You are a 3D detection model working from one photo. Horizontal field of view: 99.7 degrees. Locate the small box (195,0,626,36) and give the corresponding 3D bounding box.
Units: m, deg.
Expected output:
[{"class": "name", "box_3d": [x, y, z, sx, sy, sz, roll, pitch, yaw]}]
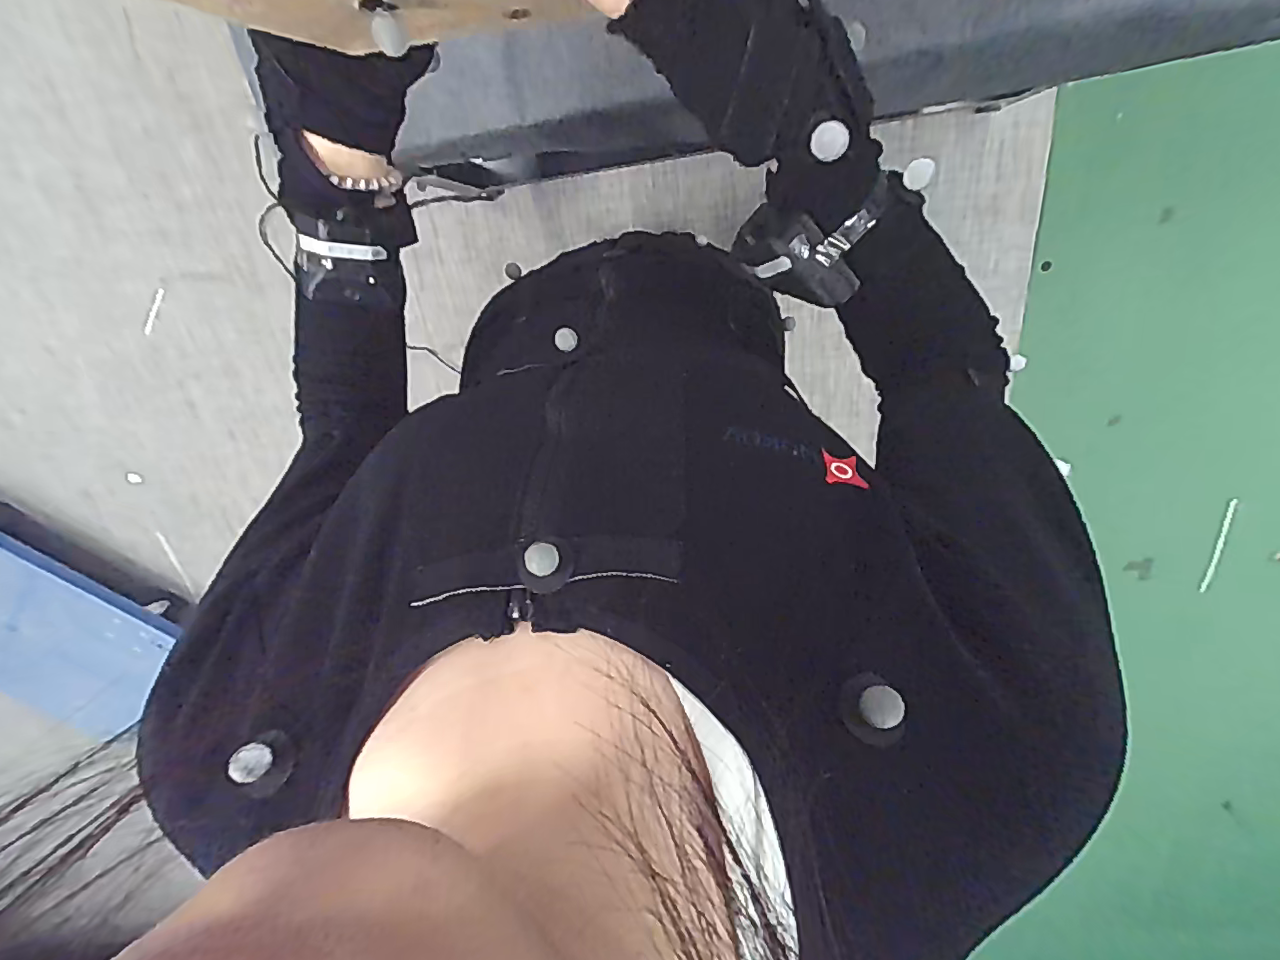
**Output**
[{"class": "small box", "box_3d": [-0.090, -0.280, 0.188, 0.168, 0.176, 0.179, -4, 121, 5]}]
